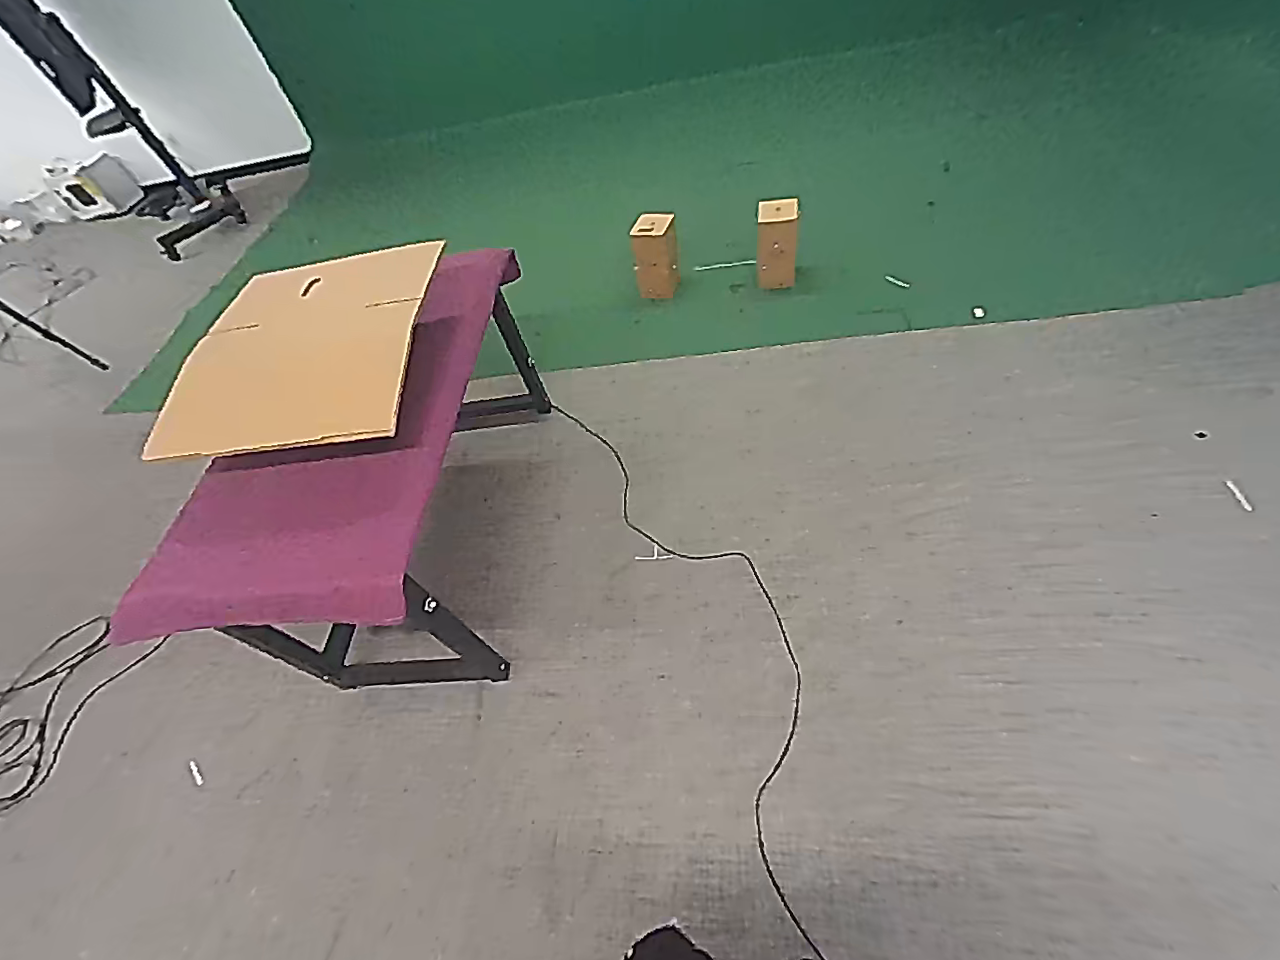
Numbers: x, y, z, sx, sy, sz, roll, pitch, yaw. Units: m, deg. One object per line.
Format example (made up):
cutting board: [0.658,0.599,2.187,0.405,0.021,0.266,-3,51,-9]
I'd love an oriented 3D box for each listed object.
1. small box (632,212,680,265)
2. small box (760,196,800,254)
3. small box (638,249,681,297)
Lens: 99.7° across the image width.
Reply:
small box: [0.081,-1.130,2.529,0.168,0.176,0.179,11,57,20]
small box: [0.622,-1.131,2.404,0.168,0.176,0.179,1,55,14]
small box: [0.101,-1.028,2.657,0.168,0.176,0.179,9,58,18]
